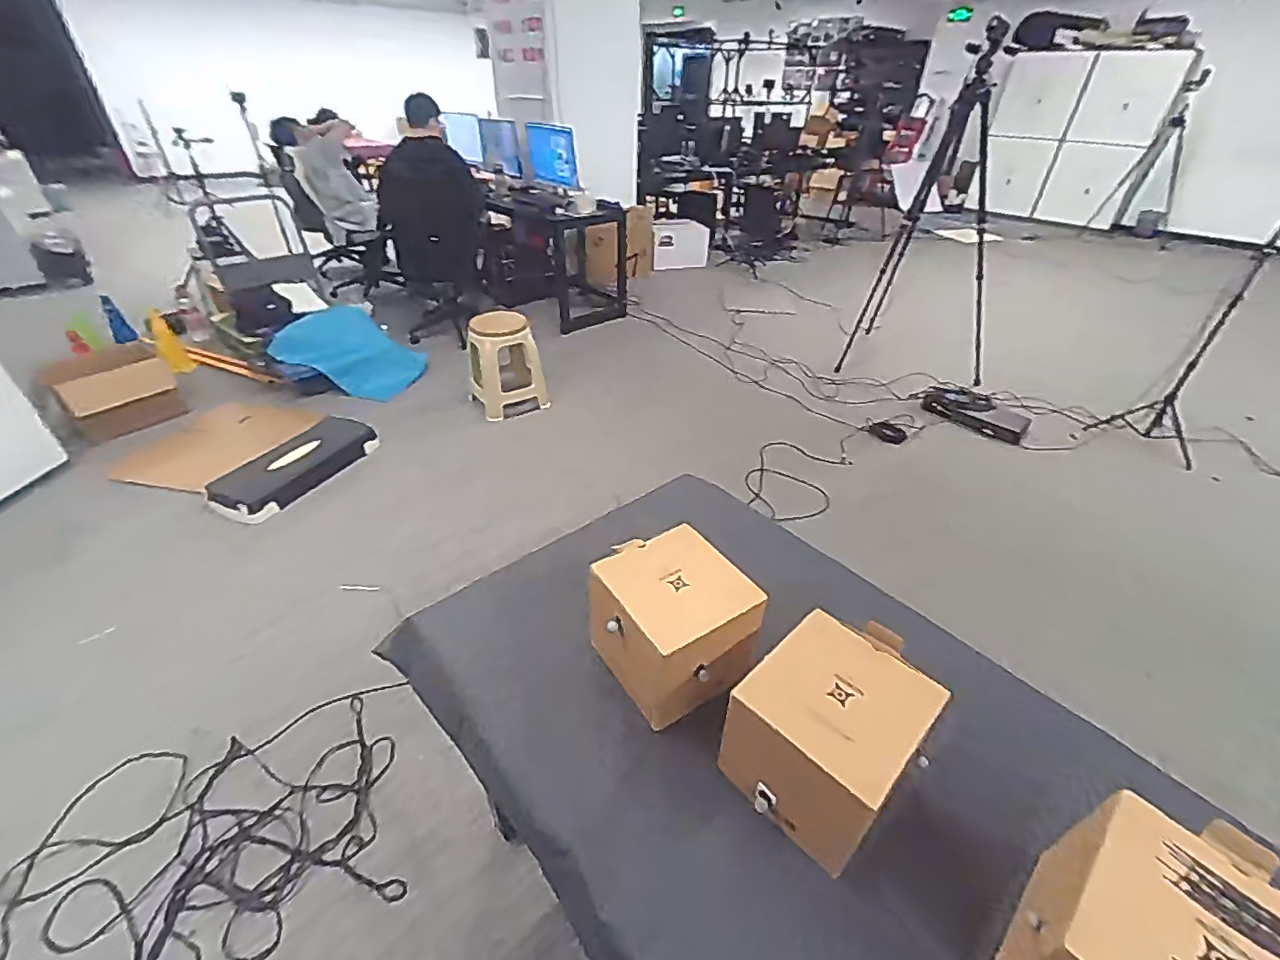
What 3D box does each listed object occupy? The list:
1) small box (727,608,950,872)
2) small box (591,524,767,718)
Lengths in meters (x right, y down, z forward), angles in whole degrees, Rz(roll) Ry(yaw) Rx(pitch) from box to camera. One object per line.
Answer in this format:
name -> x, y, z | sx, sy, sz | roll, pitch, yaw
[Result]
small box -> 0.216, 0.291, 0.623 | 0.179, 0.176, 0.168 | -29, 45, -35
small box -> 0.047, 0.196, 0.748 | 0.168, 0.176, 0.179 | -20, 41, -28
